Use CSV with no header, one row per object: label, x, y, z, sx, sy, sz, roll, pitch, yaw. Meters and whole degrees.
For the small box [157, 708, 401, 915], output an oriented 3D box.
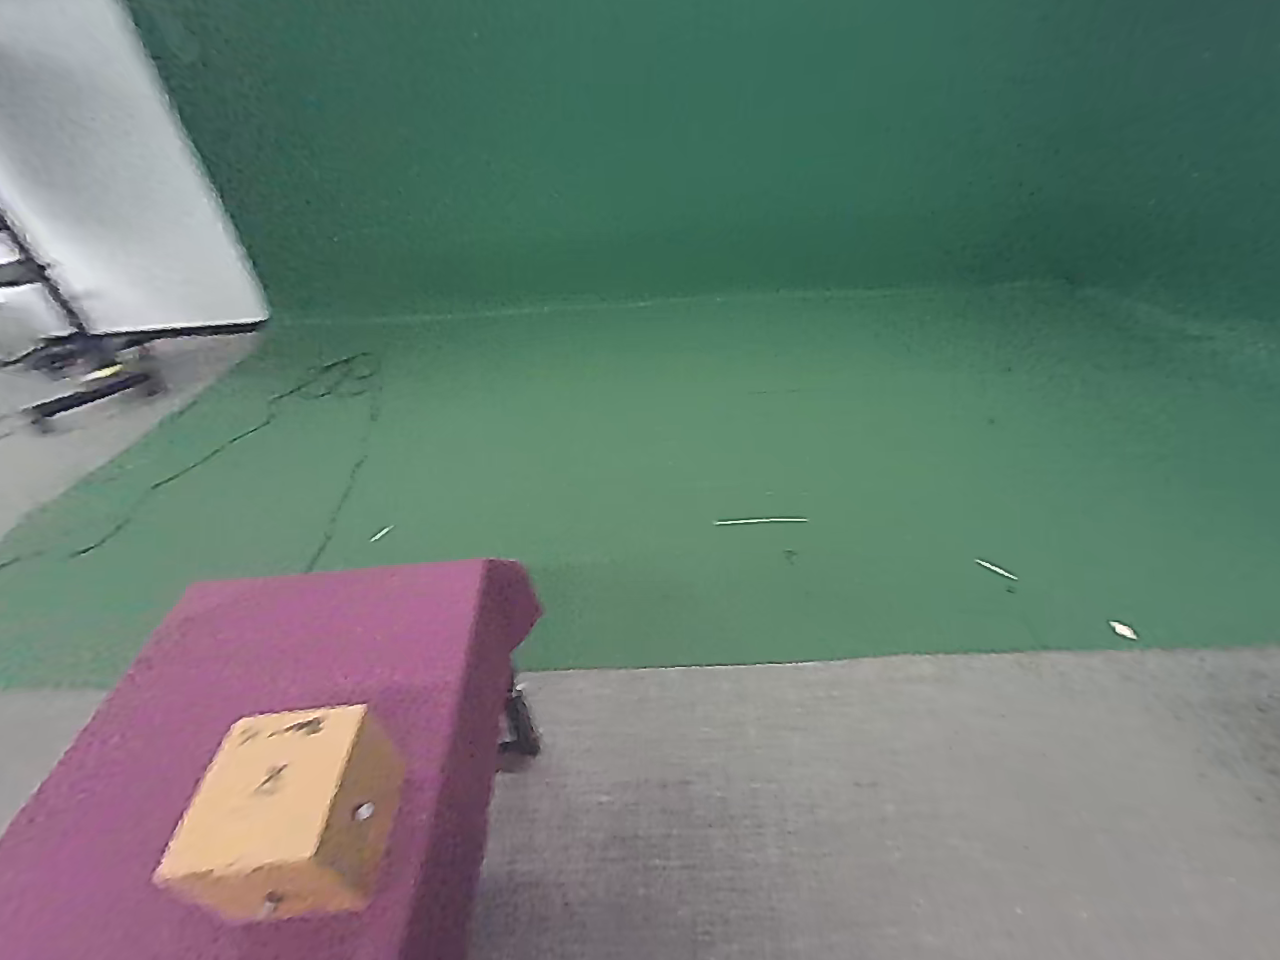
small box,-0.424,0.416,0.677,0.168,0.176,0.179,-6,39,-1
